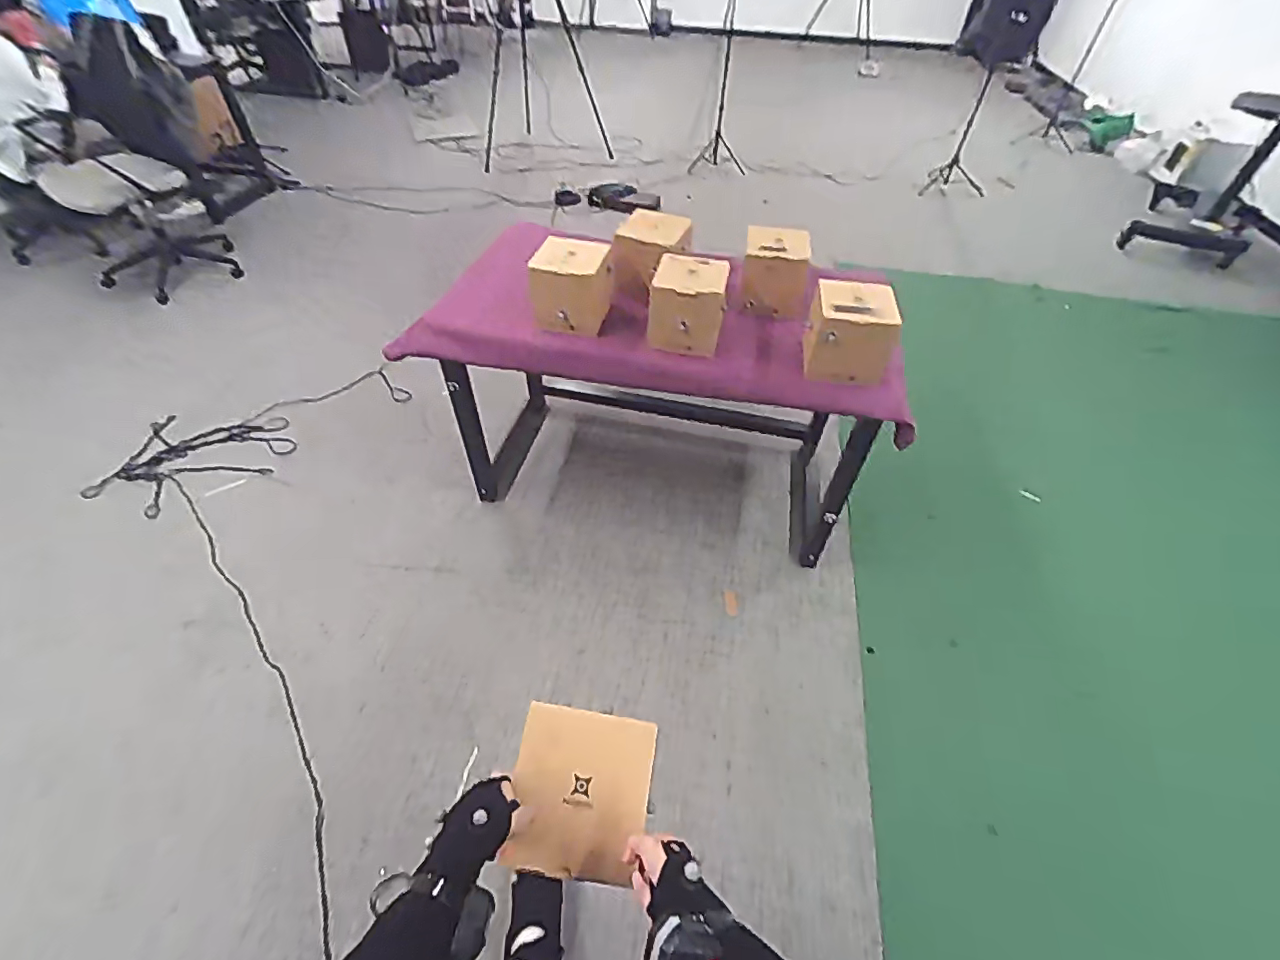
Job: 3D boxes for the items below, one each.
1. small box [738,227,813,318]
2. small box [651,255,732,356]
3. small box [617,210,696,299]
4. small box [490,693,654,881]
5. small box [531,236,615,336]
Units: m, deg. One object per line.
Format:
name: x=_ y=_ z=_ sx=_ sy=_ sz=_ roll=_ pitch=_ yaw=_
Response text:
small box: x=0.362 y=-0.556 z=1.456 sx=0.168 sy=0.176 sz=0.179 roll=10 pitch=47 yaw=5
small box: x=0.124 y=-0.425 z=1.323 sx=0.168 sy=0.176 sz=0.179 roll=11 pitch=47 yaw=7
small box: x=0.045 y=-0.618 z=1.499 sx=0.168 sy=0.176 sz=0.179 roll=19 pitch=49 yaw=13
small box: x=-0.087 y=0.390 z=0.711 sx=0.168 sy=0.176 sz=0.179 roll=12 pitch=66 yaw=-4
small box: x=-0.164 y=-0.490 z=1.368 sx=0.168 sy=0.176 sz=0.179 roll=10 pitch=47 yaw=7
